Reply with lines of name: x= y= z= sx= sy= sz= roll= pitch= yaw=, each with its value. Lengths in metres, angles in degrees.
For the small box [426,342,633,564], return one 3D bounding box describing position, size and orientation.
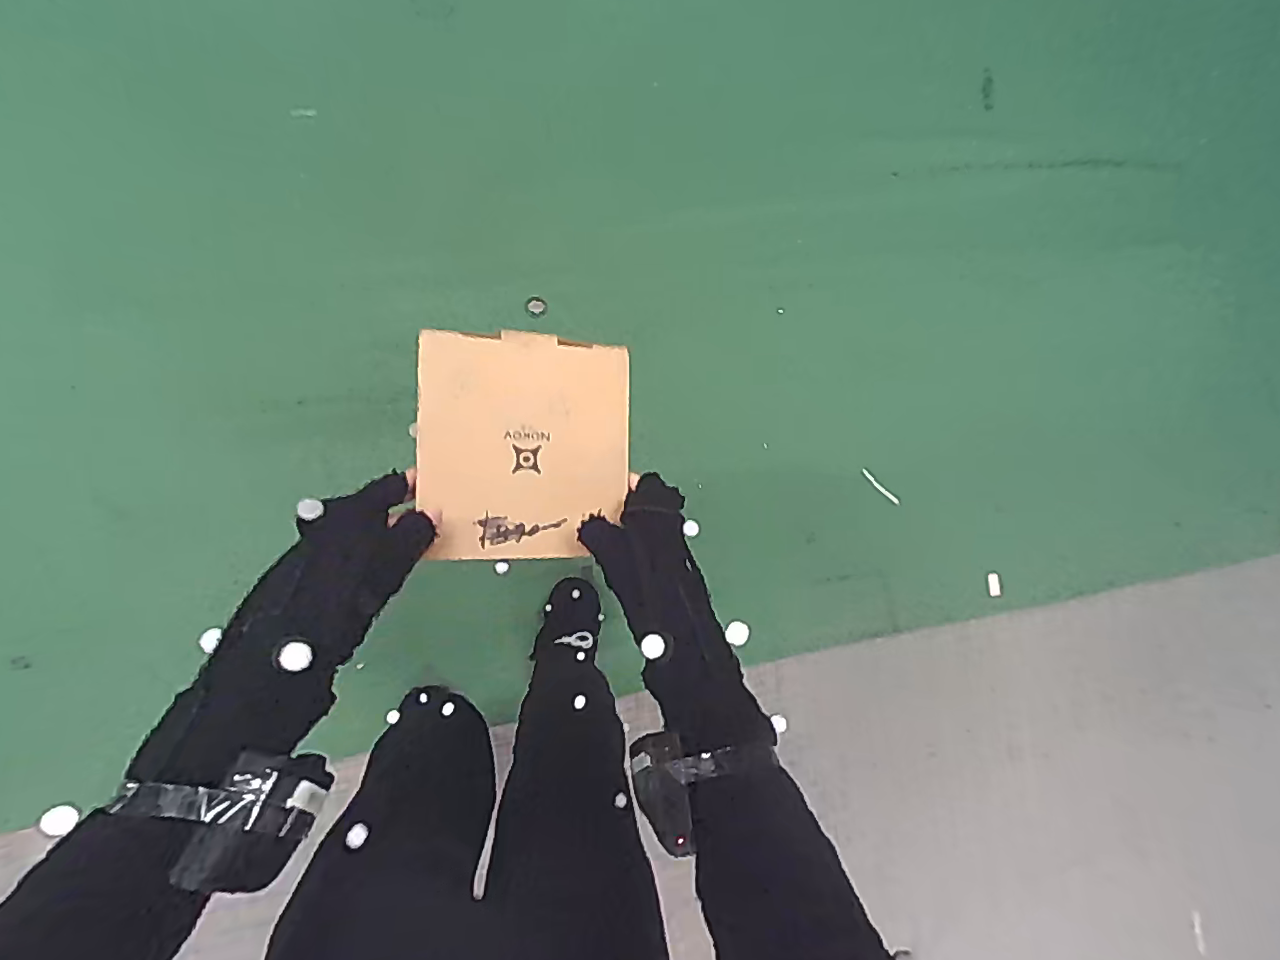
small box: x=-0.108 y=-0.015 z=0.516 sx=0.168 sy=0.176 sz=0.179 roll=1 pitch=87 yaw=-16
